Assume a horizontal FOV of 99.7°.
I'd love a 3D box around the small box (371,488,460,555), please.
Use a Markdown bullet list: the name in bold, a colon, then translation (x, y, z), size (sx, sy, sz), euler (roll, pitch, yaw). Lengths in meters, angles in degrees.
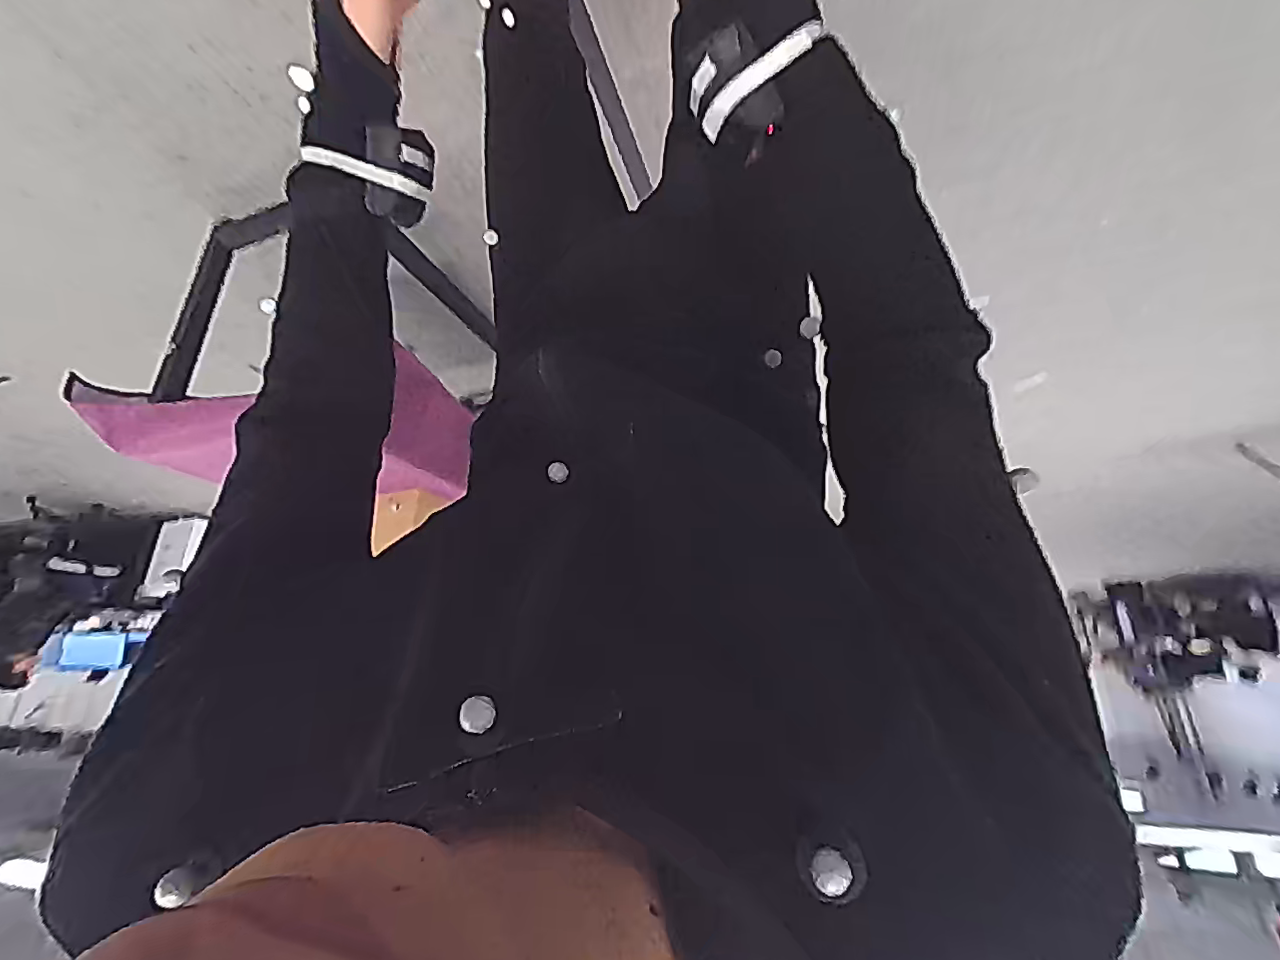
- **small box**: translation (-0.662, 0.131, 1.613), size (0.168, 0.176, 0.179), euler (-9, 158, 23)
